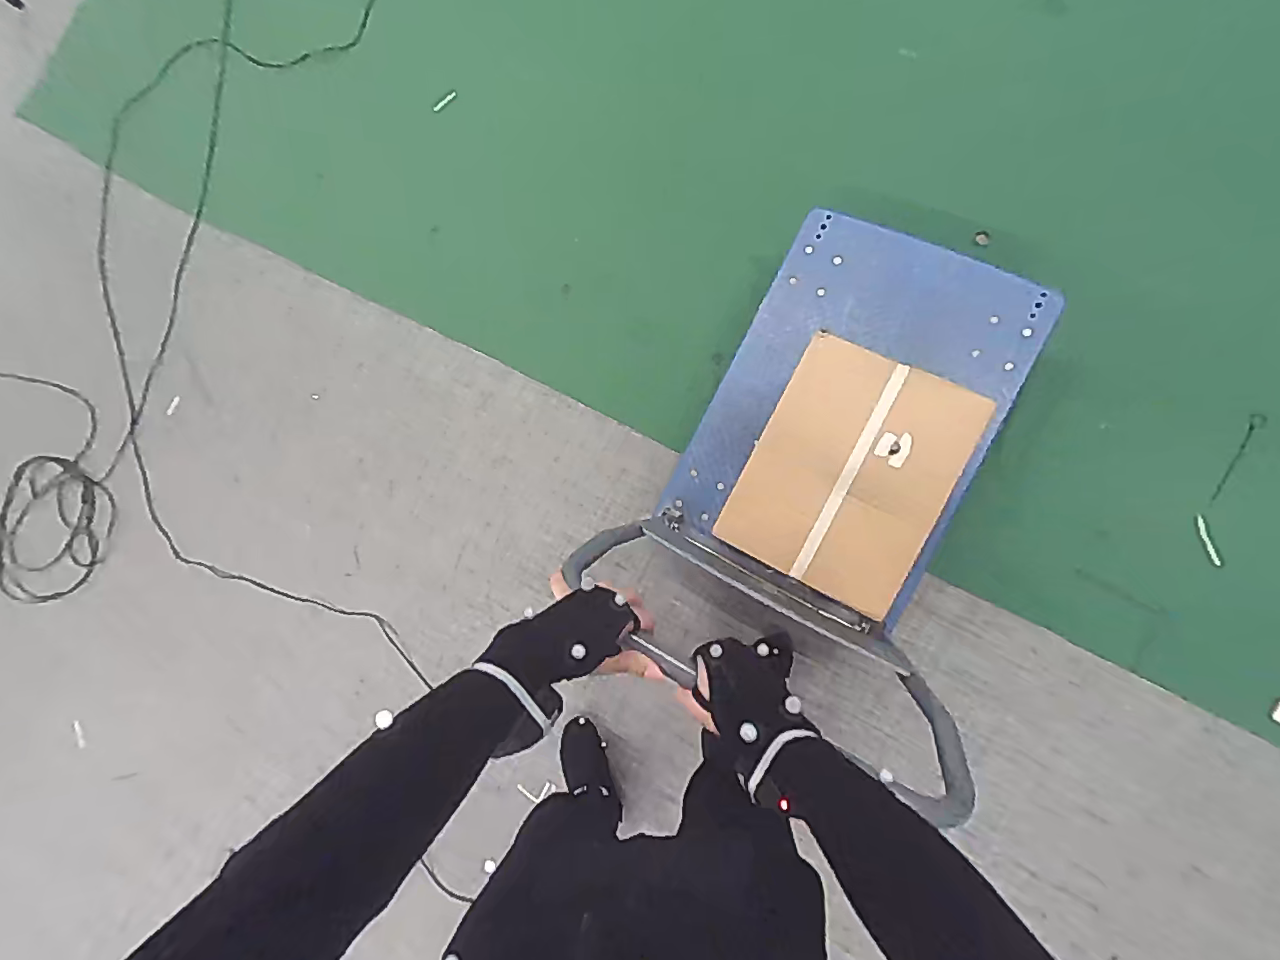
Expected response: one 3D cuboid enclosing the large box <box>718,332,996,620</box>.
[{"bbox_3d":[0.384,0.001,1.046,0.320,0.320,0.408,28,91,13],"label":"large box"}]
